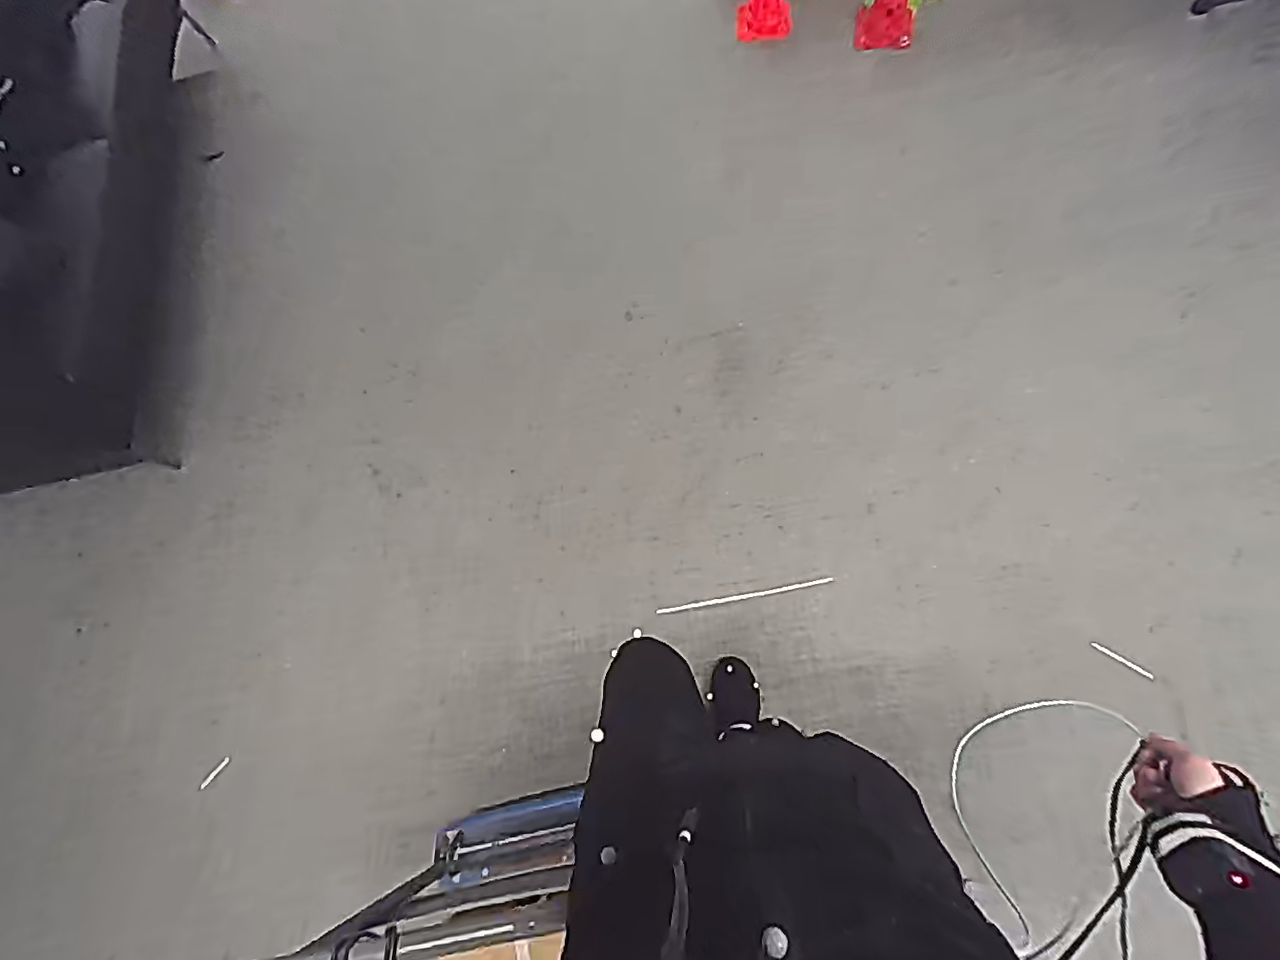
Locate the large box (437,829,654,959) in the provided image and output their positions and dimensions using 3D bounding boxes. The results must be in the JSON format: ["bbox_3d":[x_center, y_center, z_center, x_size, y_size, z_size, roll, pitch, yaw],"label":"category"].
[{"bbox_3d":[-0.143,0.946,1.000,0.320,0.320,0.408,-14,72,3],"label":"large box"}]
